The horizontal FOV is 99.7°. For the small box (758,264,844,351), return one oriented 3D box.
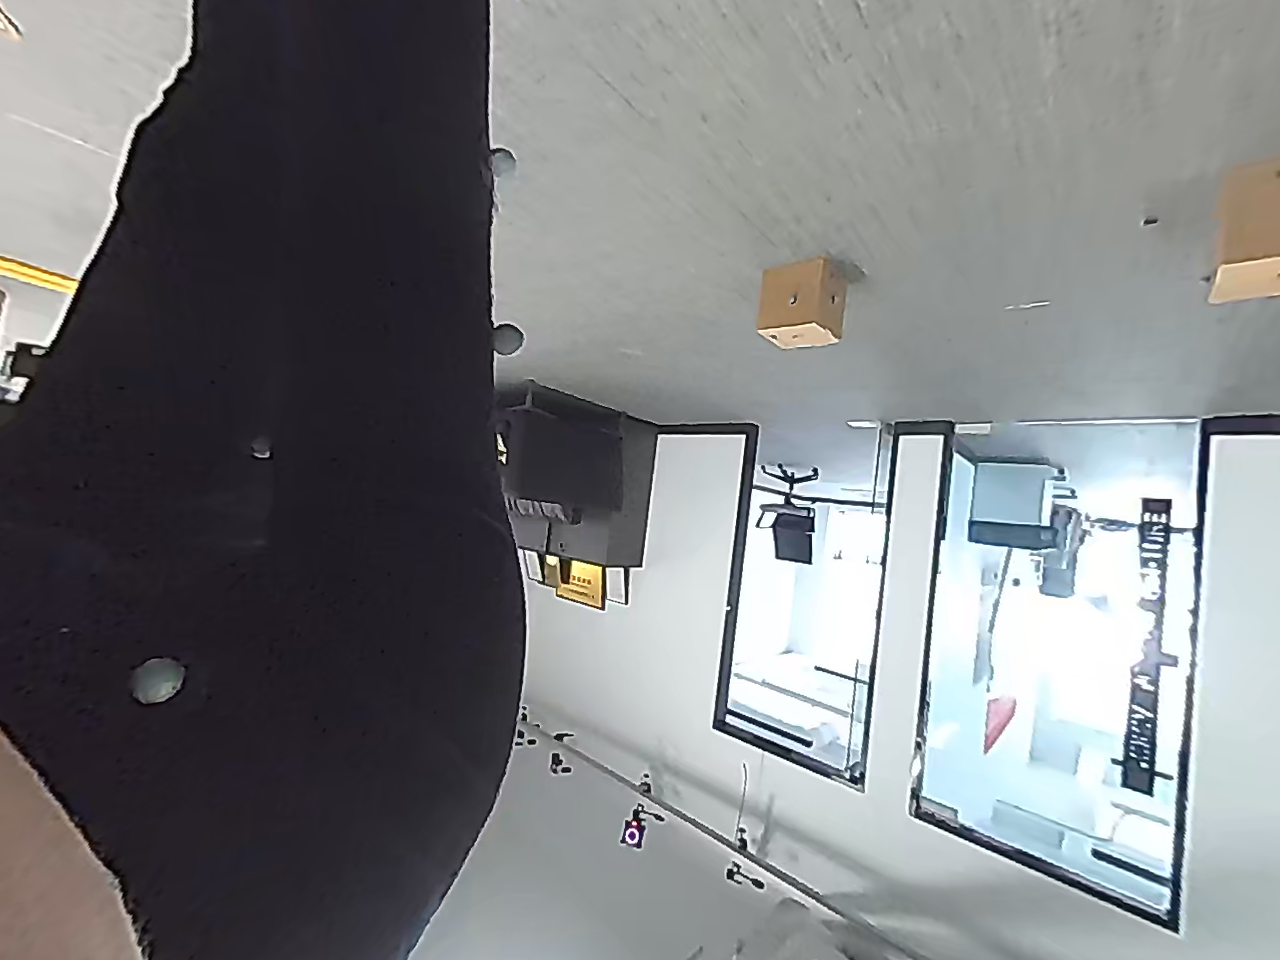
[{"bbox_3d":[0.440,-0.462,1.461,0.179,0.176,0.168,3,175,41],"label":"small box"}]

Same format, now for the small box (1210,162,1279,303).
[{"bbox_3d":[1.082,-0.420,0.903,0.168,0.176,0.179,3,176,42],"label":"small box"}]
